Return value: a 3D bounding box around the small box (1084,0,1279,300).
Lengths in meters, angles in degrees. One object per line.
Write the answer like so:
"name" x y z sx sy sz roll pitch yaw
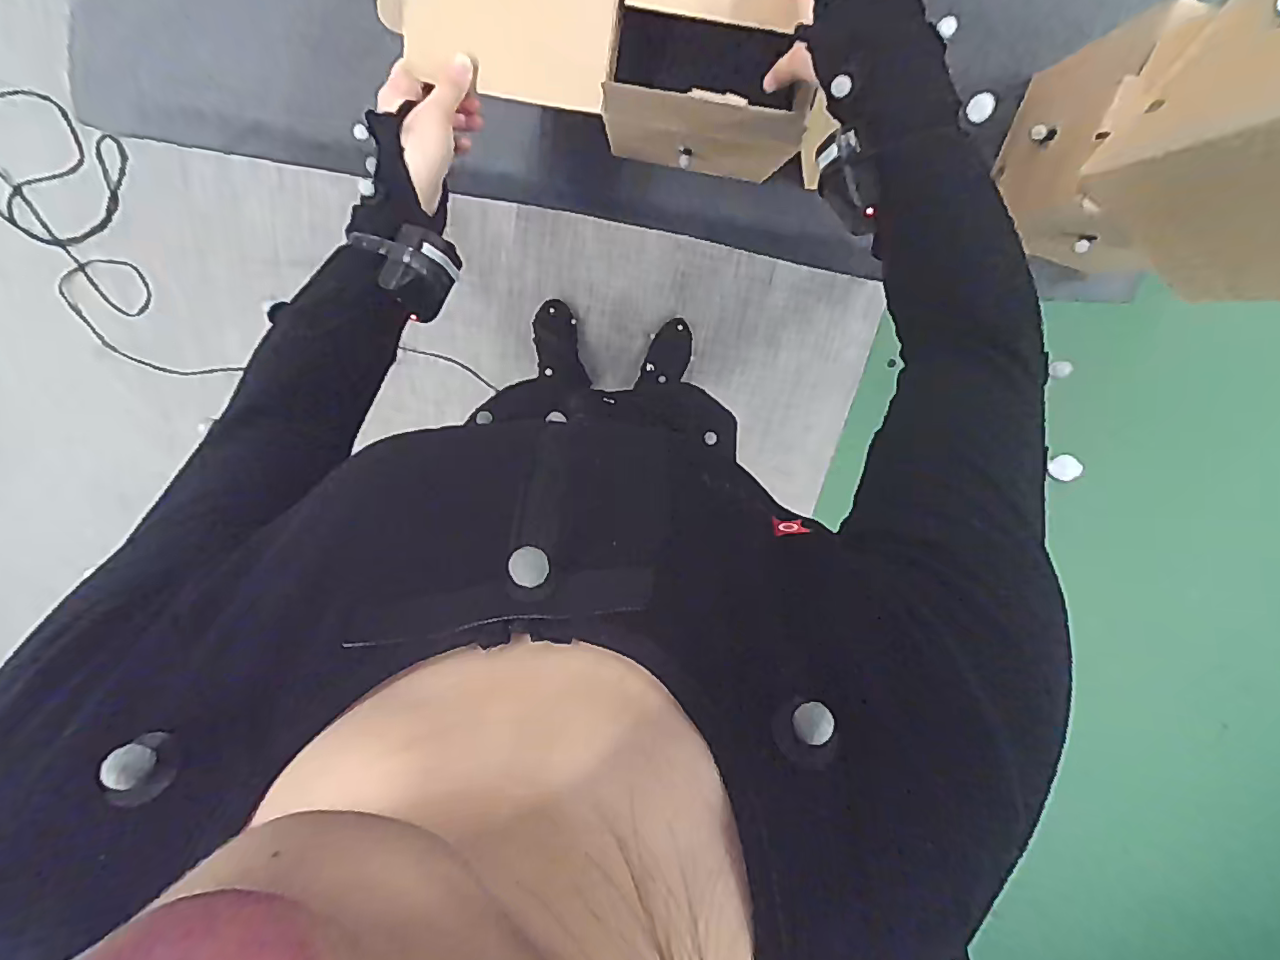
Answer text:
"small box" 0.496 -0.248 0.398 0.179 0.176 0.168 36 103 -13

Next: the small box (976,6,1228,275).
"small box" 0.492 -0.315 0.548 0.179 0.176 0.168 16 107 -6

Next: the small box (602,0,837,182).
"small box" 0.068 -0.396 0.512 0.179 0.176 0.168 10 110 -2
